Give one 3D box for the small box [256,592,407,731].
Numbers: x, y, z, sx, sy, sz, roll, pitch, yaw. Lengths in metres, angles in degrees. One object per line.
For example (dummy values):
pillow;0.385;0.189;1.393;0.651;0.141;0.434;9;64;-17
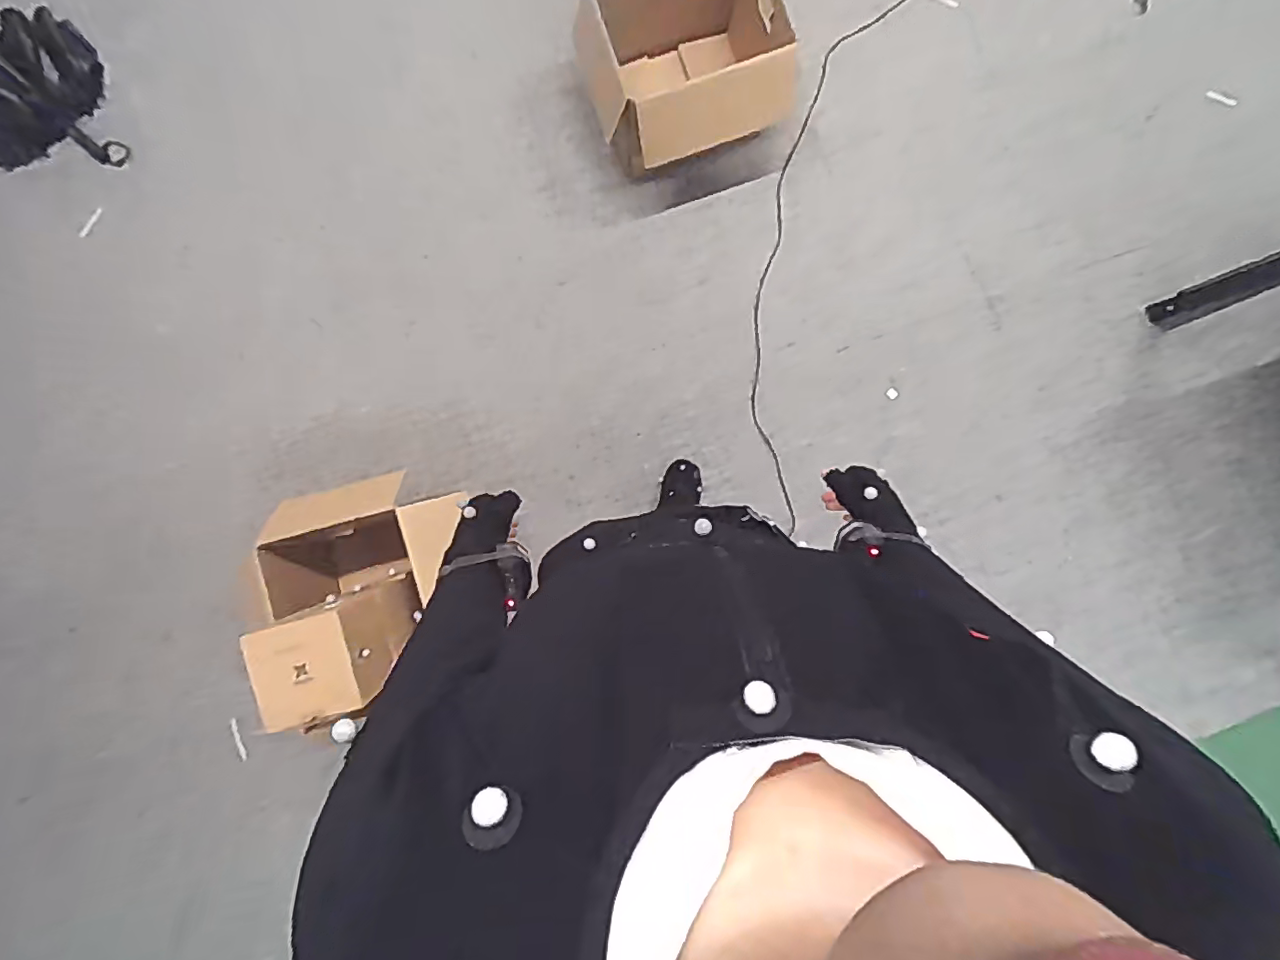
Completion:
small box;-0.560;0.328;1.010;0.168;0.176;0.179;-17;91;-4
